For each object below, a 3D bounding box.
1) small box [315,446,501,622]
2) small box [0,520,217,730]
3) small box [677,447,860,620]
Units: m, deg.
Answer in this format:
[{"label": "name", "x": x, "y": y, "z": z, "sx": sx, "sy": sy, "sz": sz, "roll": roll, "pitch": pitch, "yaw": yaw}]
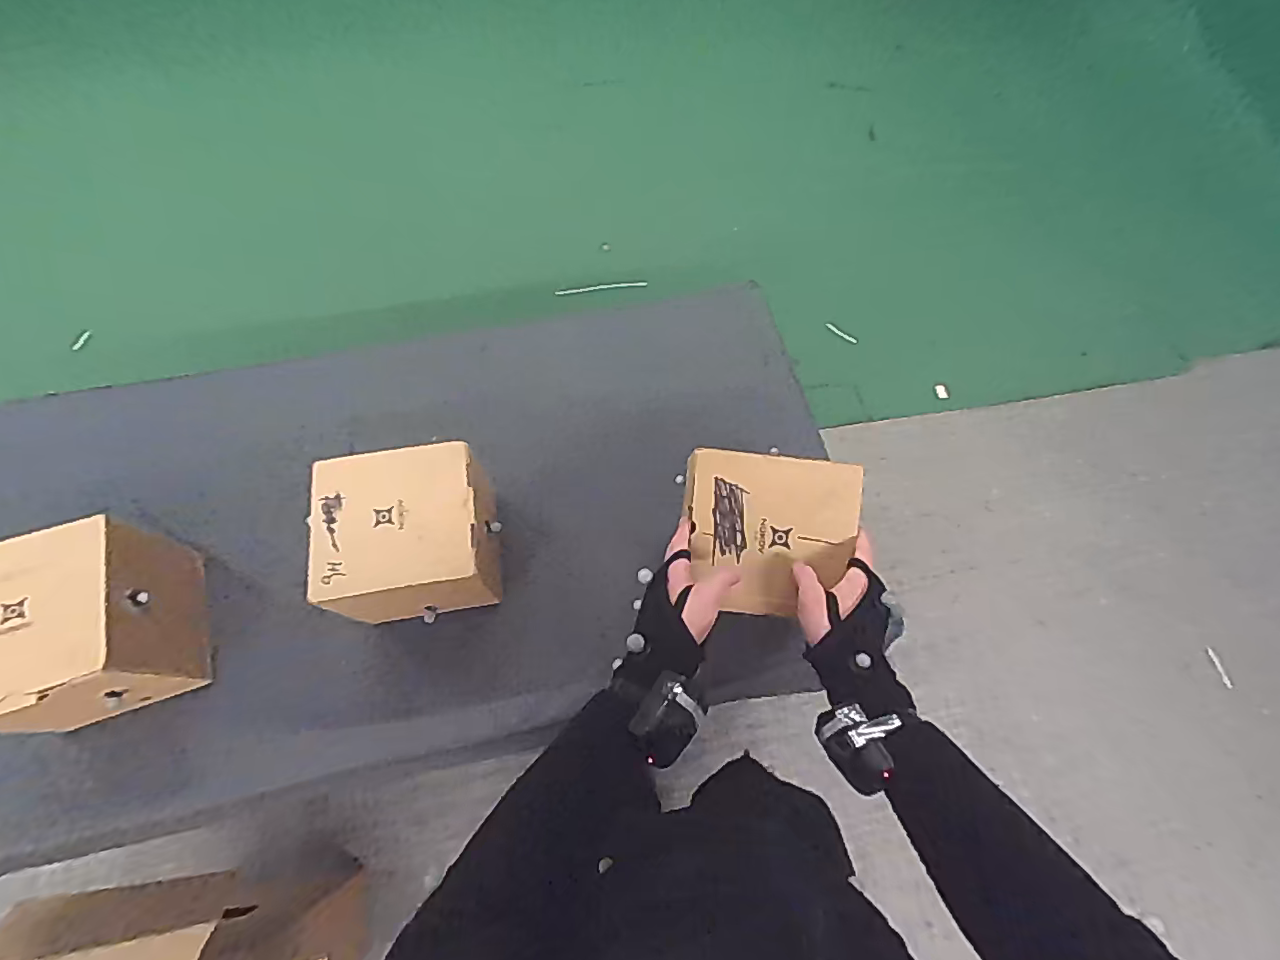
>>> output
[{"label": "small box", "x": -0.275, "y": 0.074, "z": 0.679, "sx": 0.179, "sy": 0.176, "sz": 0.168, "roll": -8, "pitch": 68, "yaw": -7}, {"label": "small box", "x": -0.627, "y": 0.172, "z": 0.622, "sx": 0.168, "sy": 0.176, "sz": 0.179, "roll": -18, "pitch": 68, "yaw": -12}, {"label": "small box", "x": 0.137, "y": 0.058, "z": 0.637, "sx": 0.179, "sy": 0.176, "sz": 0.168, "roll": 5, "pitch": 89, "yaw": 2}]
